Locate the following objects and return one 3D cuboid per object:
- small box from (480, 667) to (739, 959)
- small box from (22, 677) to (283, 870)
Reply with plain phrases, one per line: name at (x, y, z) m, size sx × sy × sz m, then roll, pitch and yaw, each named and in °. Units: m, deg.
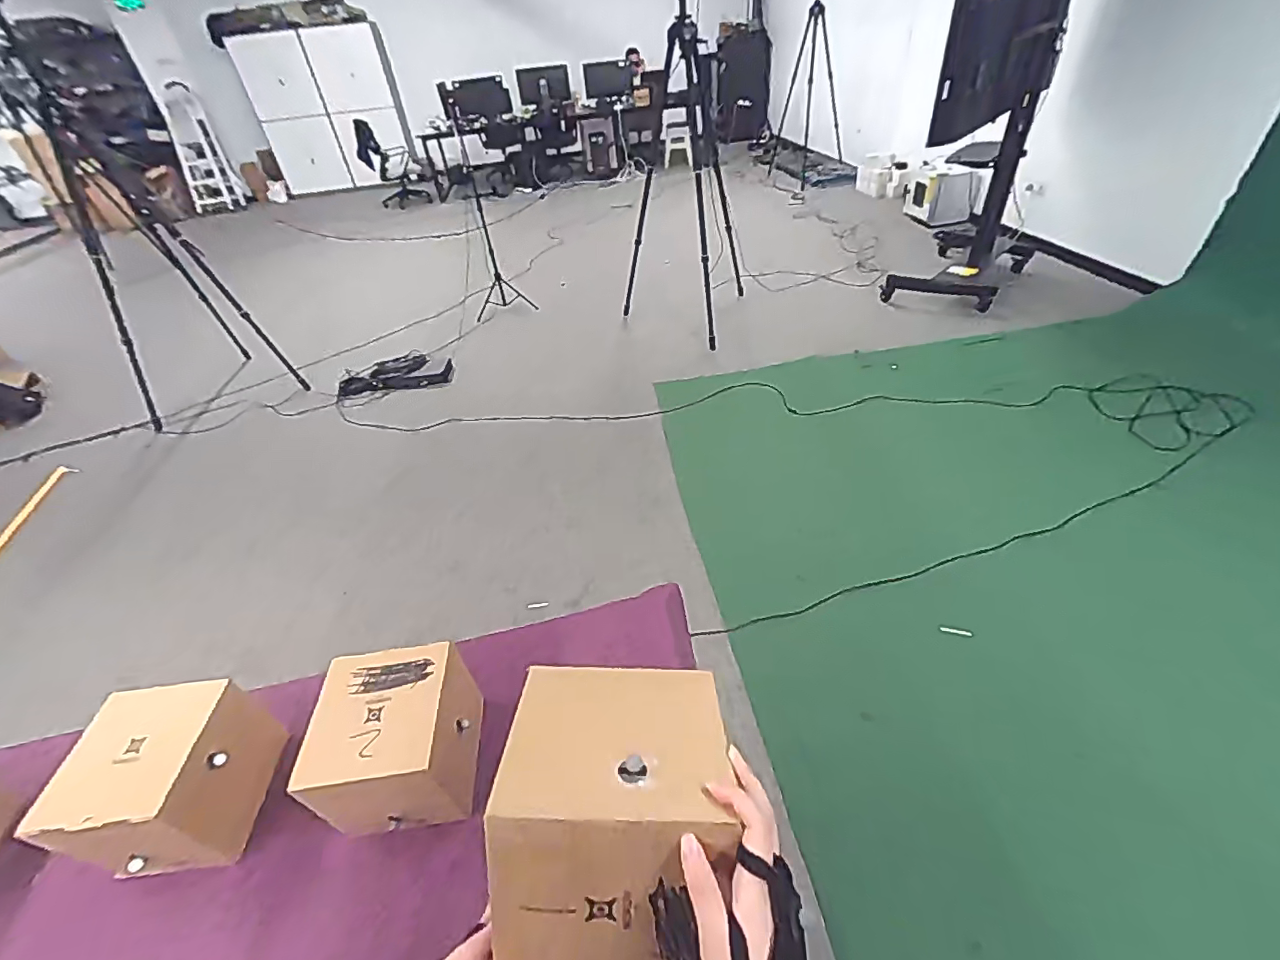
small box at (-0.024, 0.278, 0.458) m, size 0.179 × 0.168 × 0.176 m, roll 2°, pitch 16°, yaw 0°
small box at (-0.629, 0.397, 0.735) m, size 0.168 × 0.176 × 0.179 m, roll -7°, pitch 41°, yaw 0°
